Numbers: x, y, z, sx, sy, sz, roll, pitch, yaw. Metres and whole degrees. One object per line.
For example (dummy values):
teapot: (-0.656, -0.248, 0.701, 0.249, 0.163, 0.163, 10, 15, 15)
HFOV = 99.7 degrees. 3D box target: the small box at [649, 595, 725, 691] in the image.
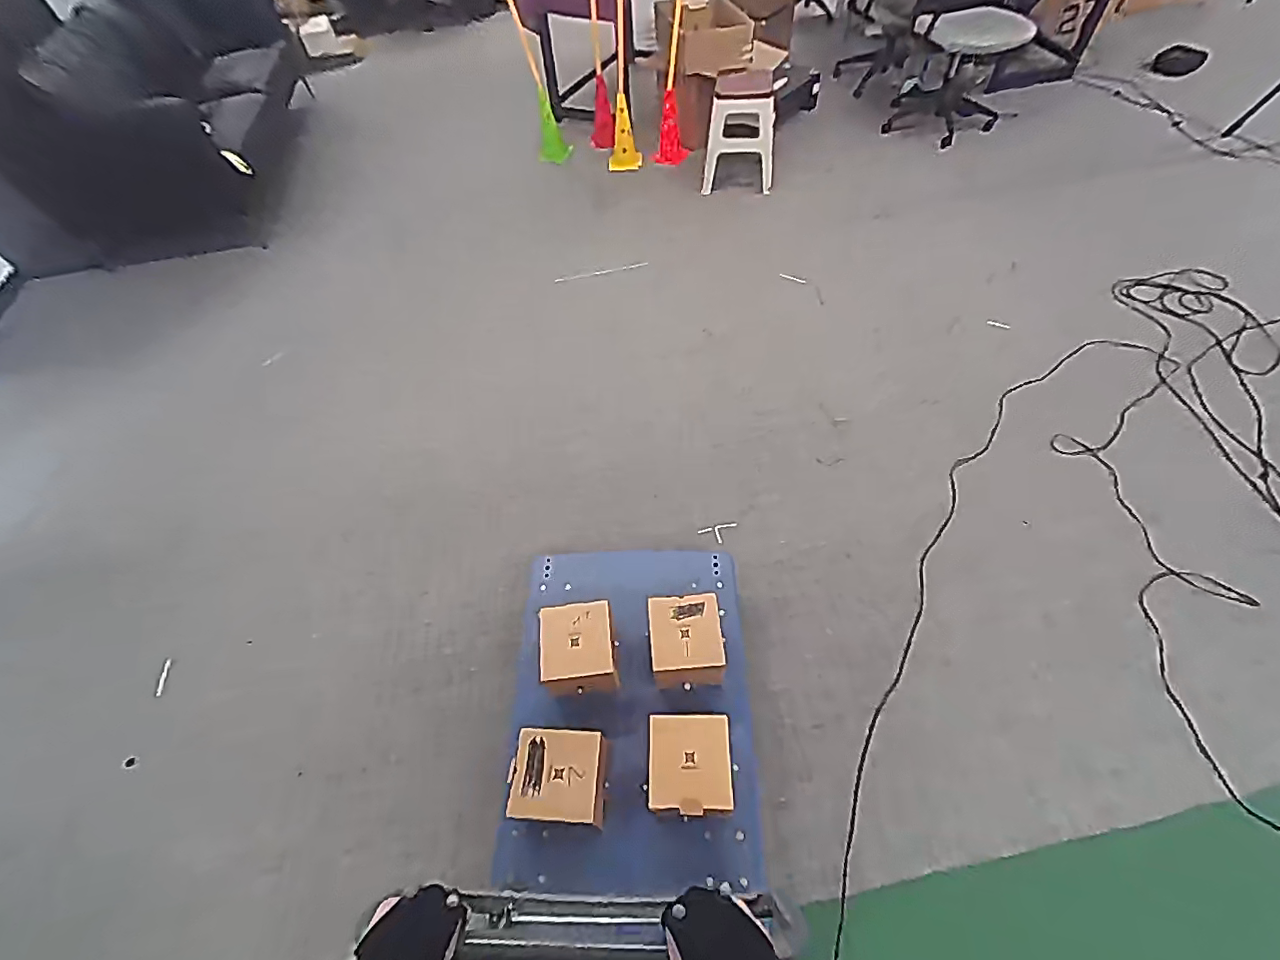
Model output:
small box: (0.110, 0.398, 1.315, 0.168, 0.176, 0.179, -5, 55, 1)

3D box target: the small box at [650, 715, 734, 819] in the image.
small box: (0.106, 0.618, 1.160, 0.168, 0.176, 0.179, -1, 55, 3)

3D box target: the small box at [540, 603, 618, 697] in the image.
small box: (-0.145, 0.419, 1.317, 0.168, 0.176, 0.179, -6, 55, -1)
